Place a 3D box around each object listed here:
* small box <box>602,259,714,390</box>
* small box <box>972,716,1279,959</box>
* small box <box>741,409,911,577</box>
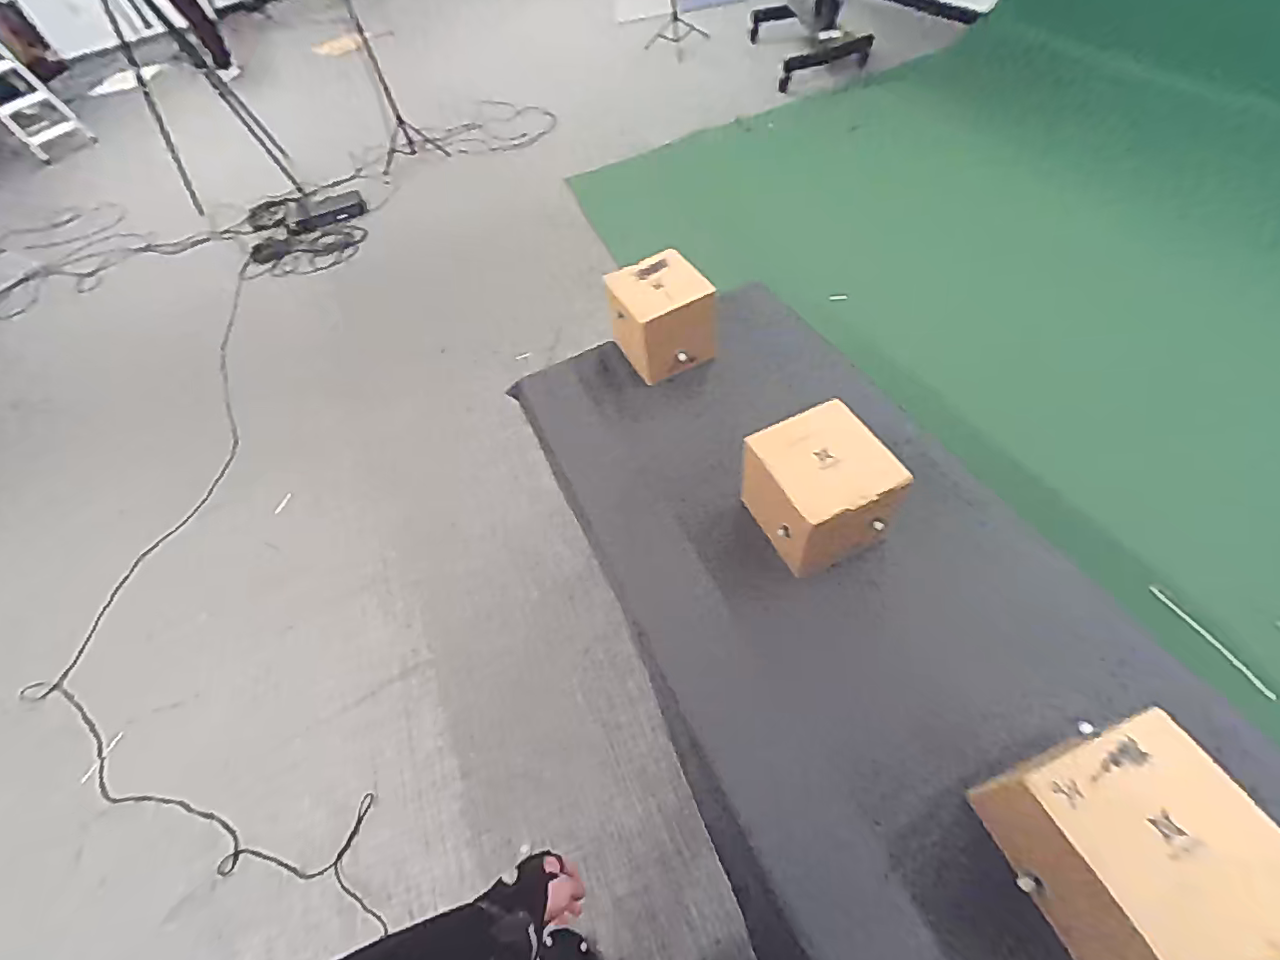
[{"bbox_3d":[0.037,-0.318,1.116,0.168,0.176,0.179,-25,56,-12],"label":"small box"},{"bbox_3d":[0.492,0.374,0.550,0.168,0.176,0.179,-21,54,-9],"label":"small box"},{"bbox_3d":[0.272,0.028,0.836,0.168,0.176,0.179,-22,53,-12],"label":"small box"}]
